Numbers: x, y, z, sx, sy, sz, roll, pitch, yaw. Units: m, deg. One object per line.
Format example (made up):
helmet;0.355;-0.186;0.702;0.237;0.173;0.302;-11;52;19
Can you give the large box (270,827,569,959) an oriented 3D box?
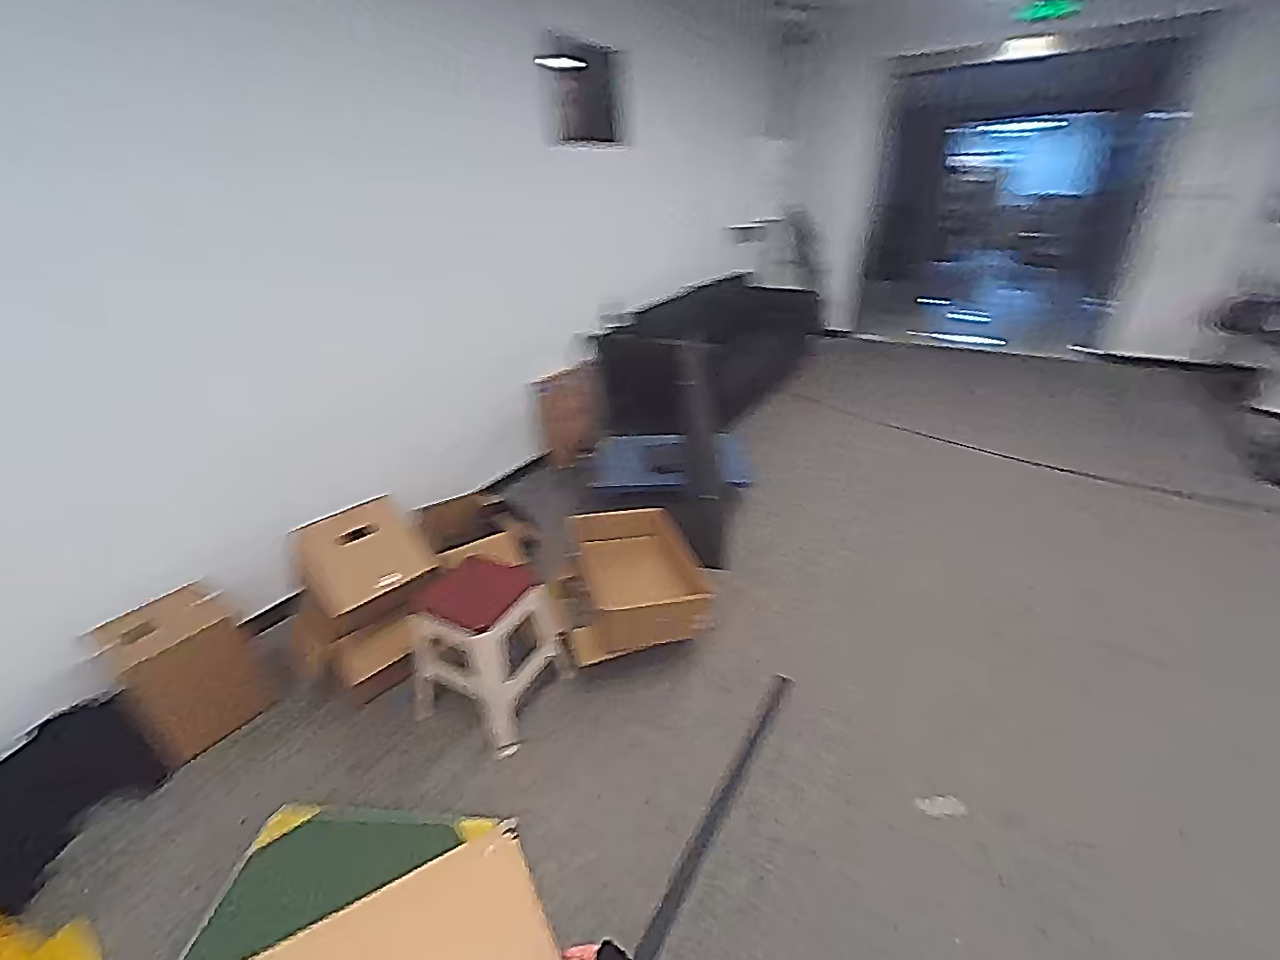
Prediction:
large box;-0.239;0.629;0.477;0.408;0.320;0.320;-14;36;-28
